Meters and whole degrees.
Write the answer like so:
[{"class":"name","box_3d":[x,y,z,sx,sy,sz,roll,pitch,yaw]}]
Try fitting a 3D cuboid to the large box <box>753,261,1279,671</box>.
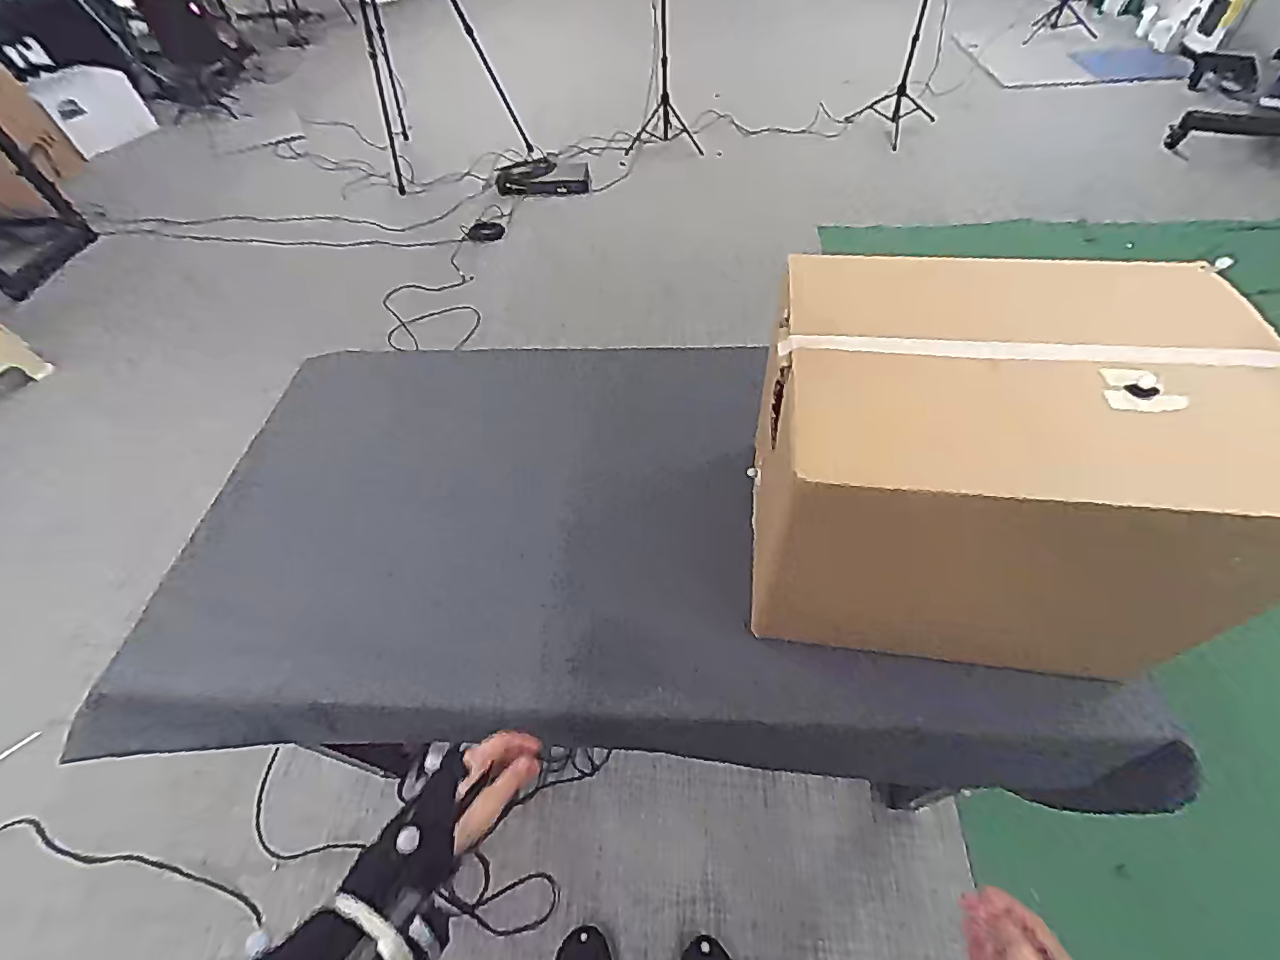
[{"class":"large box","box_3d":[0.343,-0.012,0.590,0.408,0.320,0.320,5,53,7]}]
